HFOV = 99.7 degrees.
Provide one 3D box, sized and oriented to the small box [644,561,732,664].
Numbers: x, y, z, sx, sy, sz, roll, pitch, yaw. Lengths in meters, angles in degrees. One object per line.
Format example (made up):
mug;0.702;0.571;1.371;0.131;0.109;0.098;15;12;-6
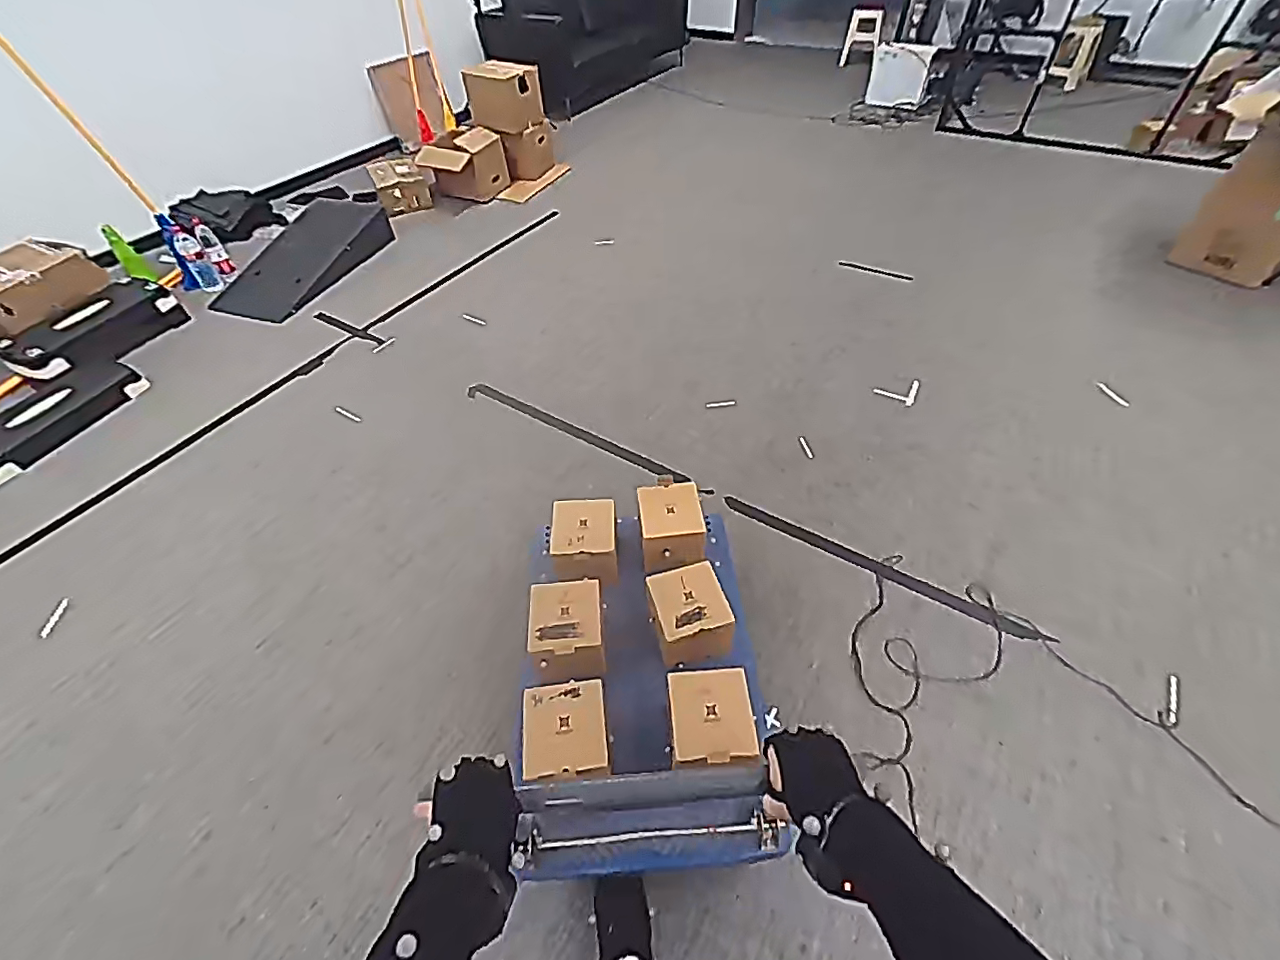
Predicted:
small box;0.114;0.333;1.330;0.168;0.176;0.179;-13;48;-10

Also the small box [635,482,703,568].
small box;0.078;0.132;1.511;0.168;0.176;0.179;-6;48;-4

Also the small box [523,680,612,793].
small box;-0.150;0.548;1.146;0.168;0.176;0.179;-6;49;-5

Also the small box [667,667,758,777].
small box;0.147;0.524;1.160;0.168;0.176;0.179;-3;48;-2

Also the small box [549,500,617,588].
small box;-0.151;0.175;1.477;0.168;0.176;0.179;-3;49;-1
